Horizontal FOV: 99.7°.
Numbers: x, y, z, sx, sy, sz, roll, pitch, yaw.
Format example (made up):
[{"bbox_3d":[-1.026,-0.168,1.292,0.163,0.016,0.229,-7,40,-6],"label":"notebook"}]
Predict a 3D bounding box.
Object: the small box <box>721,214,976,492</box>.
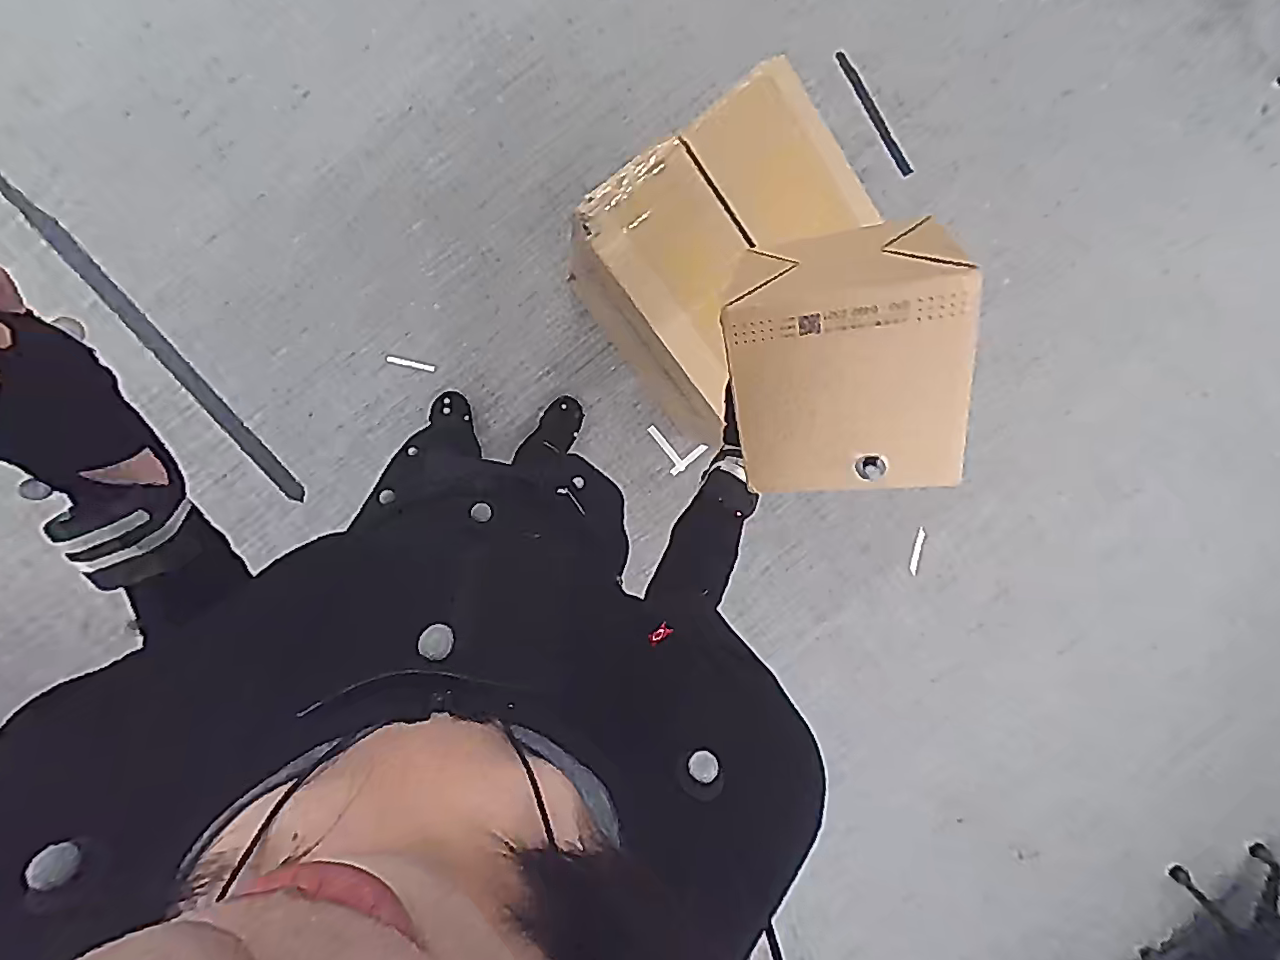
[{"bbox_3d":[0.171,-0.109,0.458,0.168,0.179,0.176,-2,126,21],"label":"small box"}]
